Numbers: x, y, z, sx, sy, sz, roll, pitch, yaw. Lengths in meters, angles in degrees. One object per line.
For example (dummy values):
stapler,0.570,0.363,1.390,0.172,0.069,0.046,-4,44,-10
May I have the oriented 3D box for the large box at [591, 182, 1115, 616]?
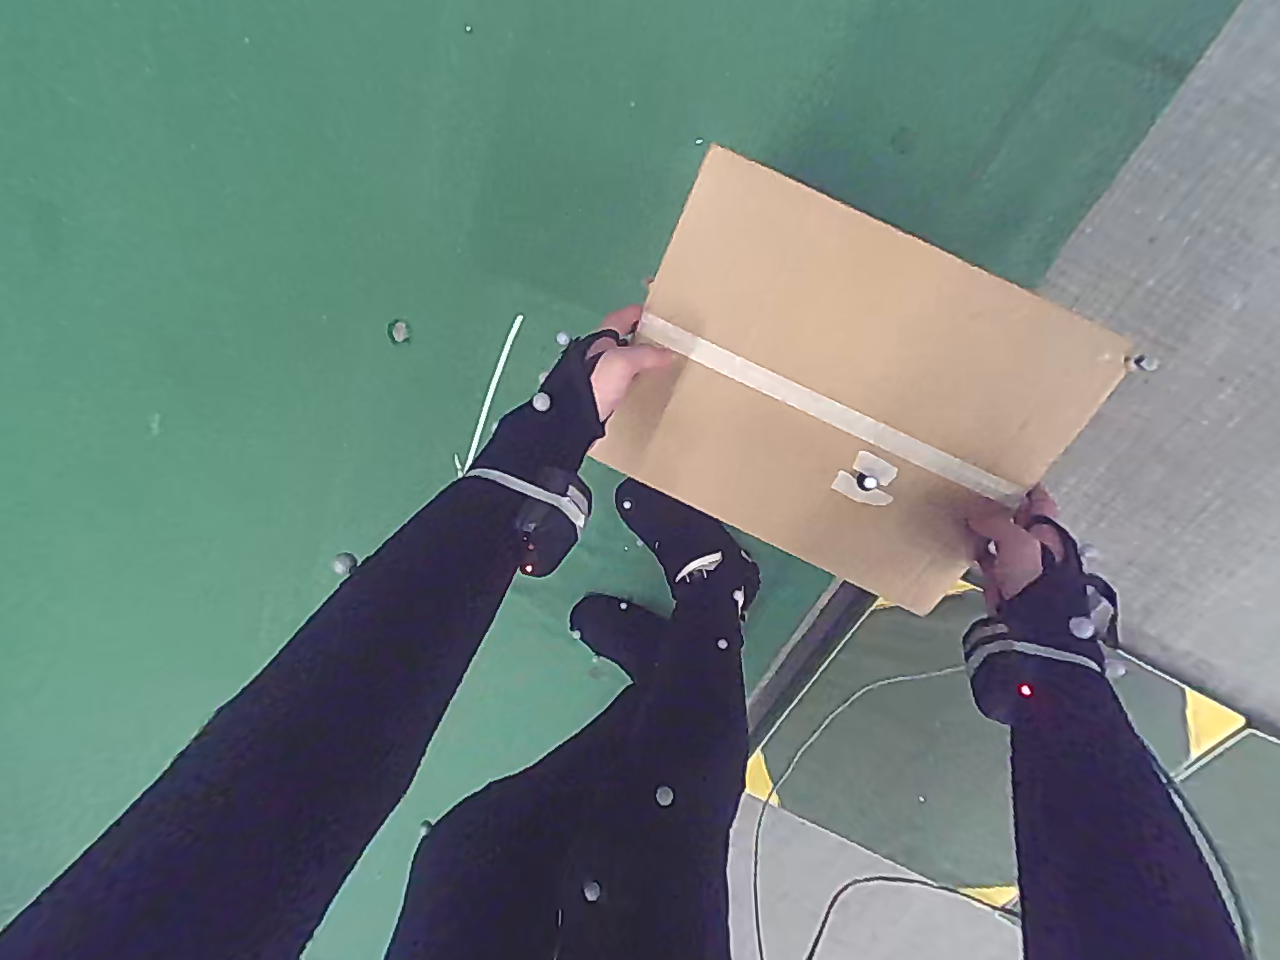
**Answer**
large box,0.204,-0.110,0.668,0.408,0.320,0.320,25,114,0
